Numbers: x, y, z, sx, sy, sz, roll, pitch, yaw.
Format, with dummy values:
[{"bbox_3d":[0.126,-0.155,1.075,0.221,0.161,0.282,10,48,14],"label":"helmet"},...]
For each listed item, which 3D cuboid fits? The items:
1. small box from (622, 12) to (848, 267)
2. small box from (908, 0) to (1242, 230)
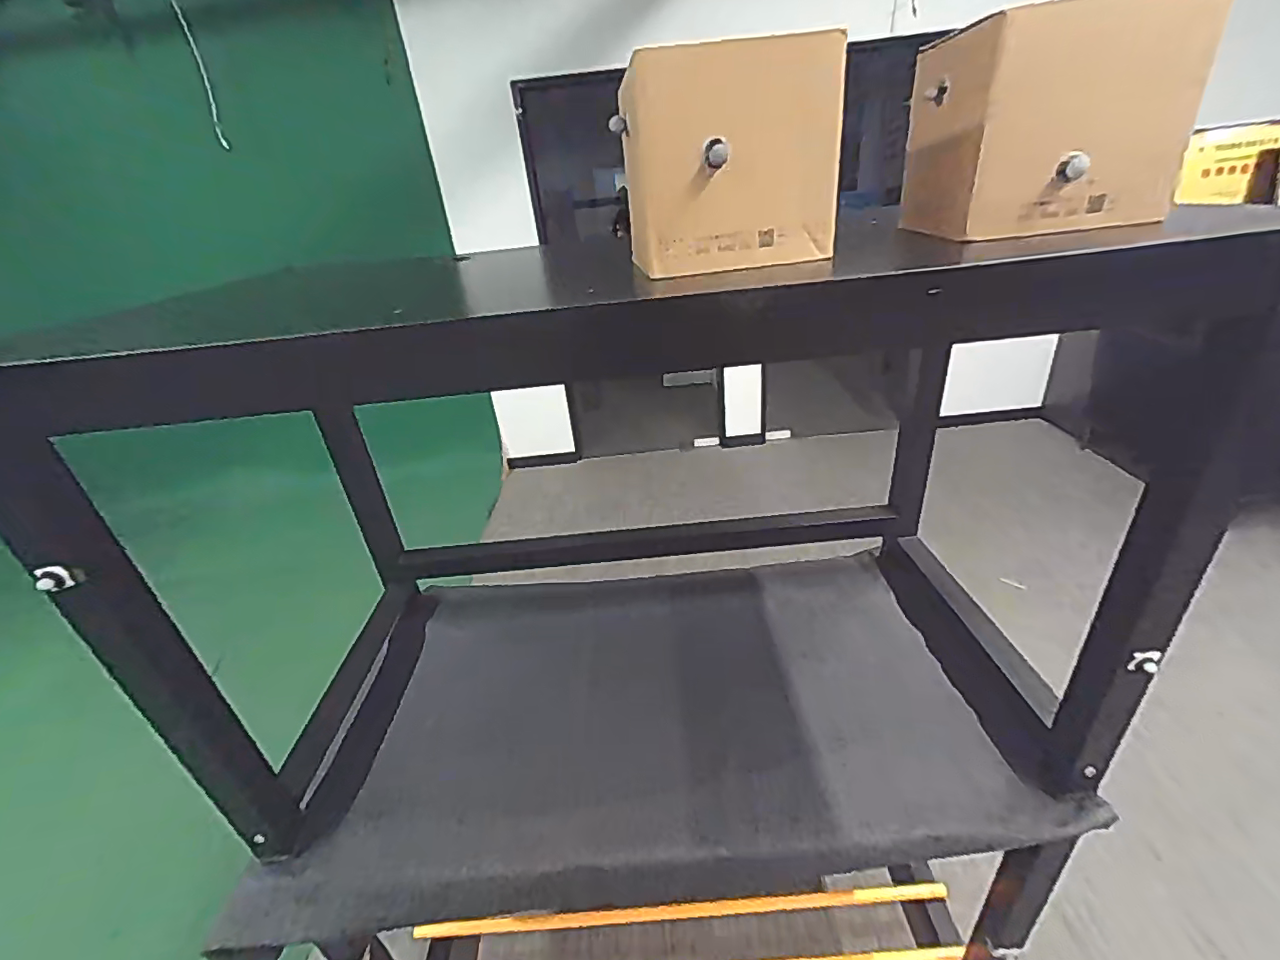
[{"bbox_3d":[0.078,-0.302,0.510,0.168,0.176,0.179,-8,28,-2],"label":"small box"},{"bbox_3d":[0.370,-0.335,0.505,0.168,0.176,0.179,-3,29,7],"label":"small box"}]
